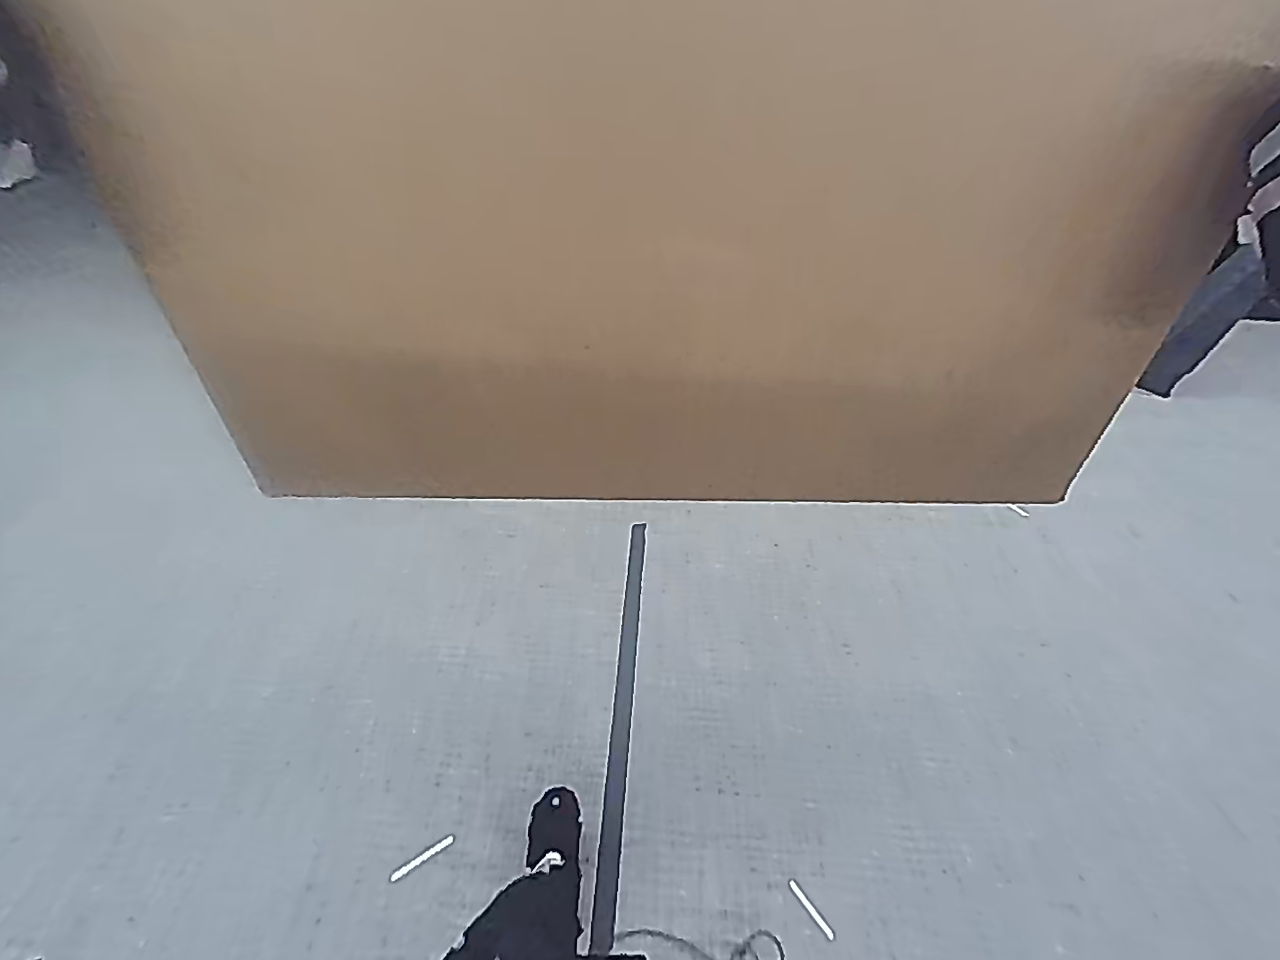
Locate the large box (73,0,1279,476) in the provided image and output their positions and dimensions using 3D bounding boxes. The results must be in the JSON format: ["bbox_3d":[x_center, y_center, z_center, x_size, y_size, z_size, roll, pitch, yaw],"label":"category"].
[{"bbox_3d":[0.014,-0.212,0.310,0.408,0.320,0.320,2,38,-1],"label":"large box"}]
